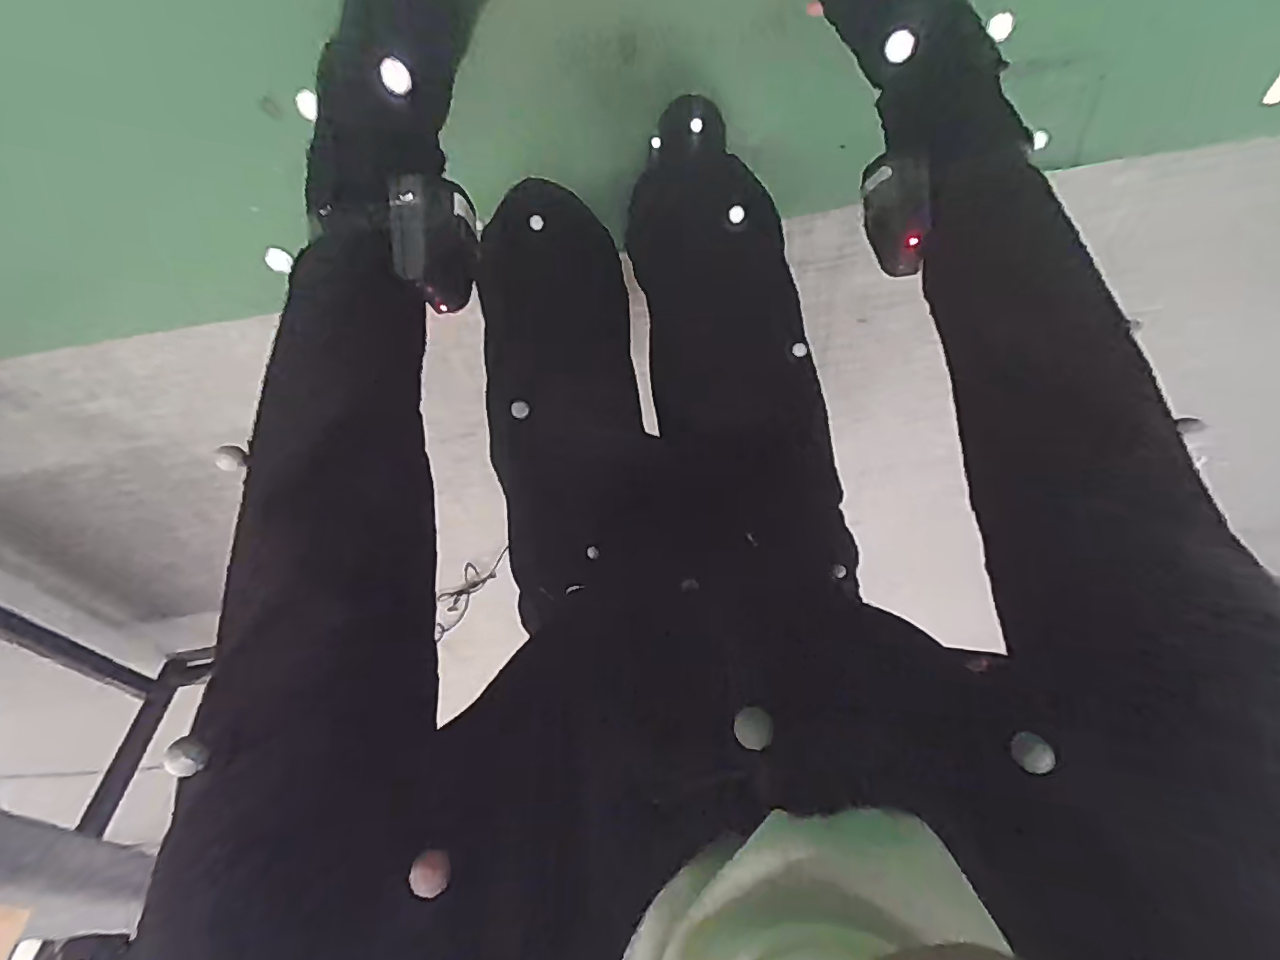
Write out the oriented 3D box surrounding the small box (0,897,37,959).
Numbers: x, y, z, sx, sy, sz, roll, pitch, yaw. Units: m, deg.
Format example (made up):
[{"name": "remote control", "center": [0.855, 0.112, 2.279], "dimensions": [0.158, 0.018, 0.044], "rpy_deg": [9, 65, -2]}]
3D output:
[{"name": "small box", "center": [-1.233, 0.827, 0.929], "dimensions": [0.179, 0.176, 0.168], "rpy_deg": [-8, 138, 4]}]
